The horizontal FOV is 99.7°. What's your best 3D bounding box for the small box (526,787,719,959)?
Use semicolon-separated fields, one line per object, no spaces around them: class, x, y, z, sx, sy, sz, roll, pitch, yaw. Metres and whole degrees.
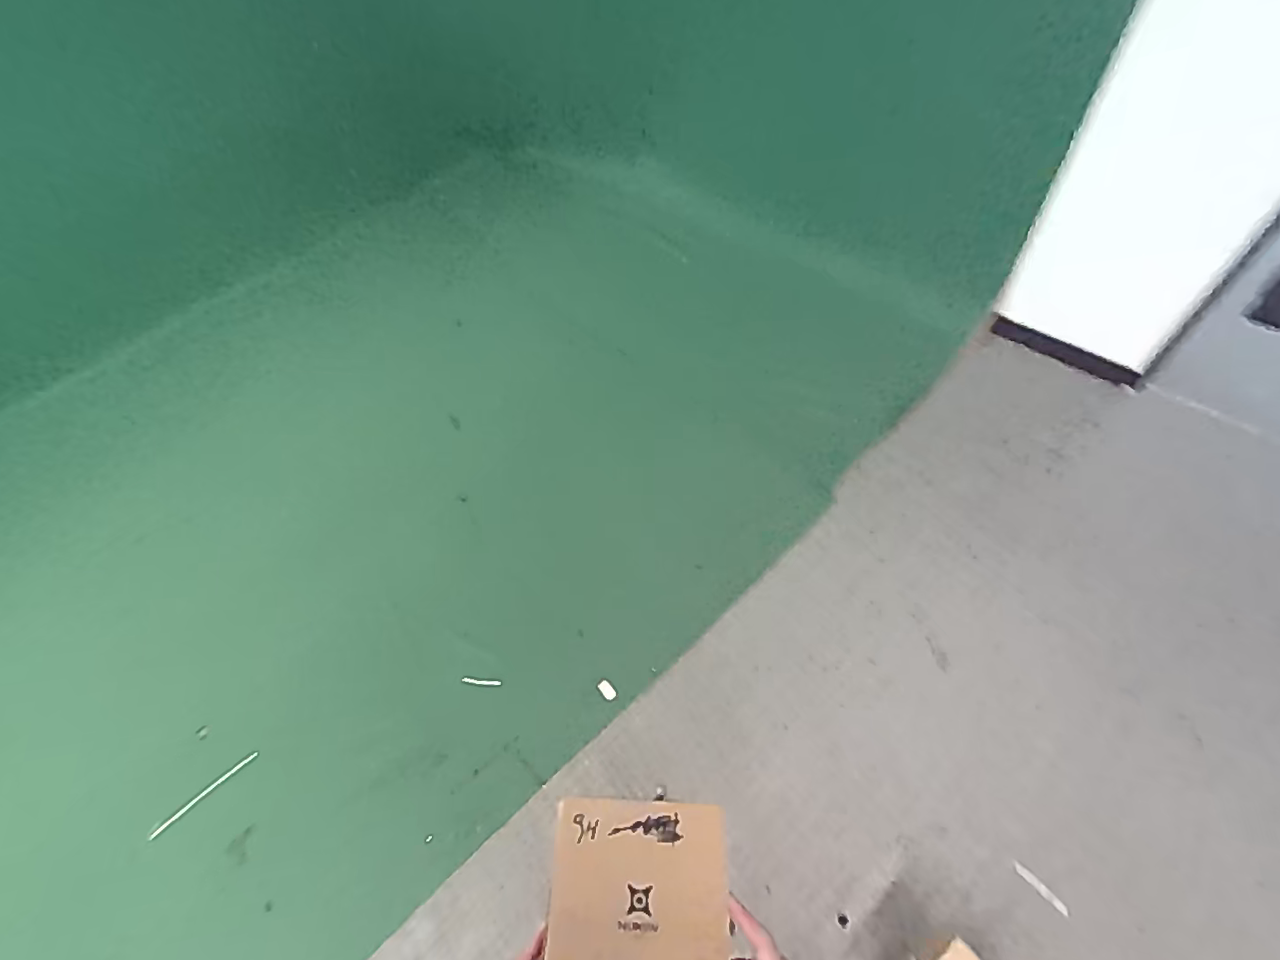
small box;-0.010;0.415;0.544;0.168;0.176;0.179;2;59;3
